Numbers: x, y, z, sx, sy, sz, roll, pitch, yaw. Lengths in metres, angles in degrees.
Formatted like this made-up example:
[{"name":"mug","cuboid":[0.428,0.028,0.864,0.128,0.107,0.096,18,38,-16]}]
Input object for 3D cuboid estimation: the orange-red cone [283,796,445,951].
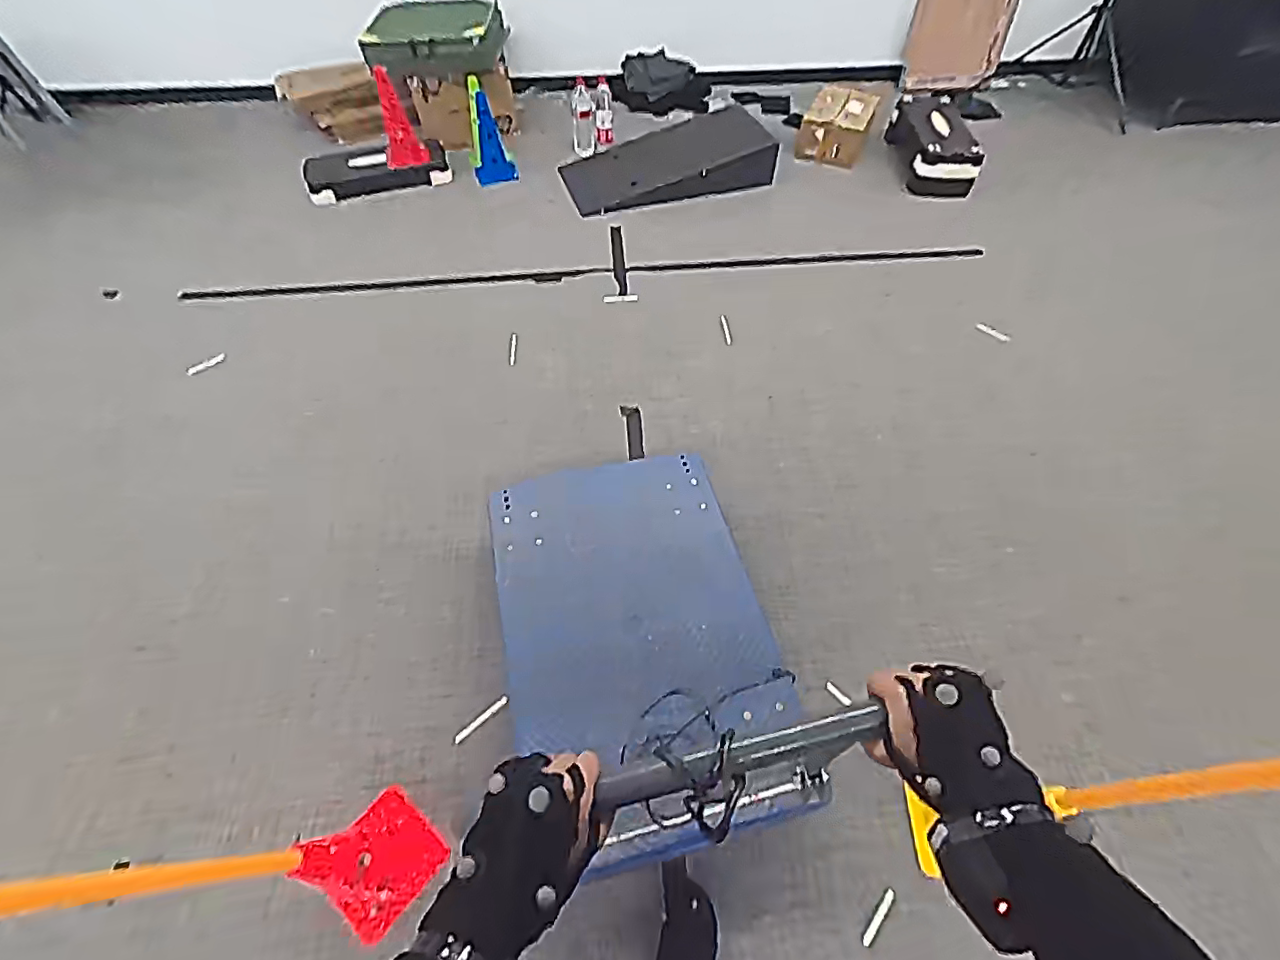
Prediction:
[{"name":"orange-red cone","cuboid":[-0.512,0.671,0.938,0.198,0.360,0.199,35,60,21]}]
